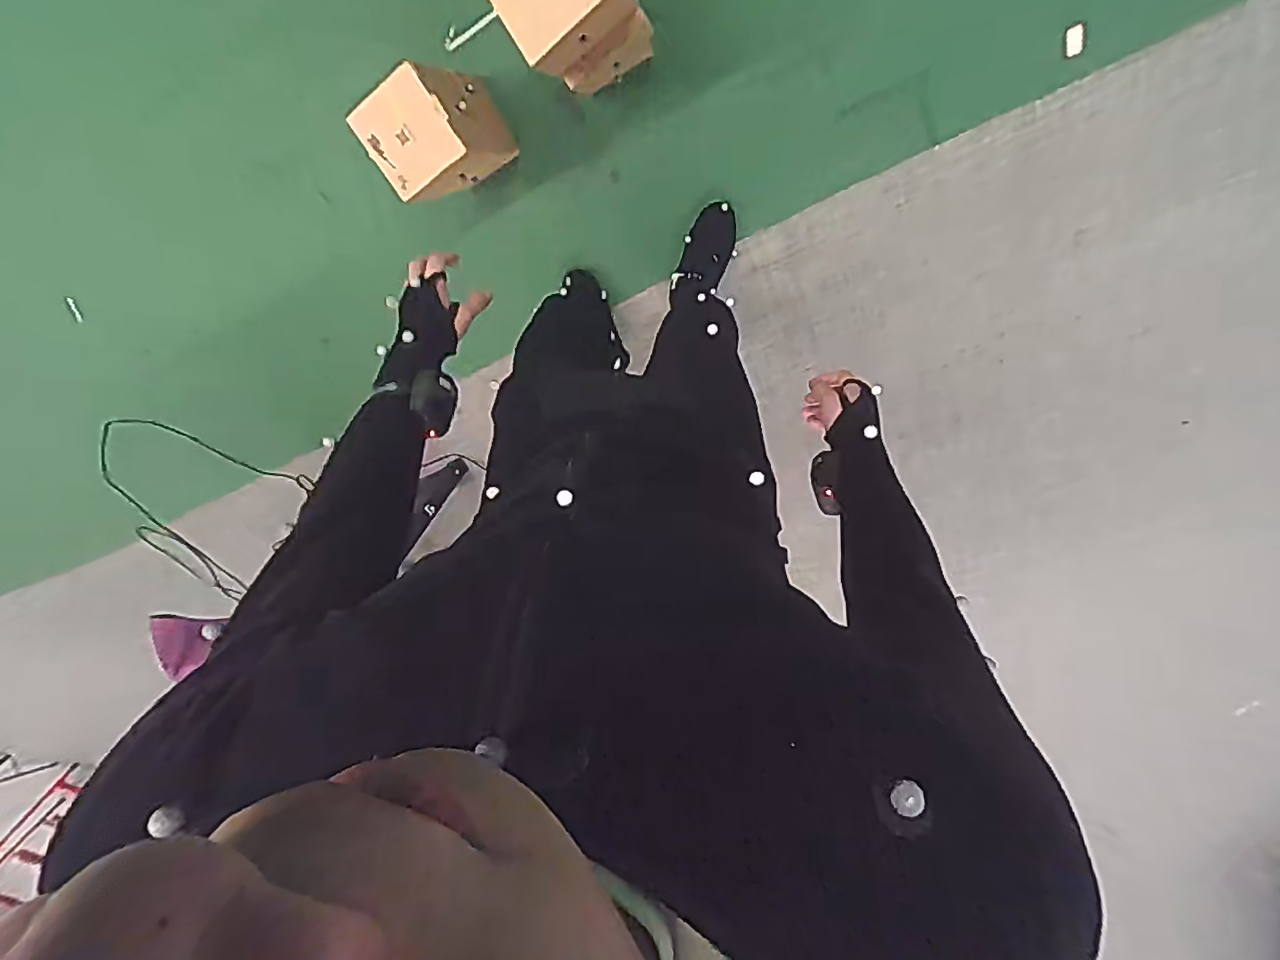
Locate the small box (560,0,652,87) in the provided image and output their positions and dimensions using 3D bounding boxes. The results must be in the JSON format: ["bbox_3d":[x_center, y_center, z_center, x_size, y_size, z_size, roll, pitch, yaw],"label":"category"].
[{"bbox_3d":[-0.096,-0.828,0.947,0.168,0.176,0.179,-29,115,24],"label":"small box"}]

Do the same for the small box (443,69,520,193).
[{"bbox_3d":[-0.400,-0.783,1.220,0.168,0.176,0.179,-21,117,21],"label":"small box"}]

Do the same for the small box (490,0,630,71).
[{"bbox_3d":[-0.127,-0.751,0.802,0.179,0.176,0.168,-26,115,23],"label":"small box"}]

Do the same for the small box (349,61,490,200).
[{"bbox_3d":[-0.426,-0.694,1.084,0.179,0.176,0.168,-24,116,22],"label":"small box"}]
